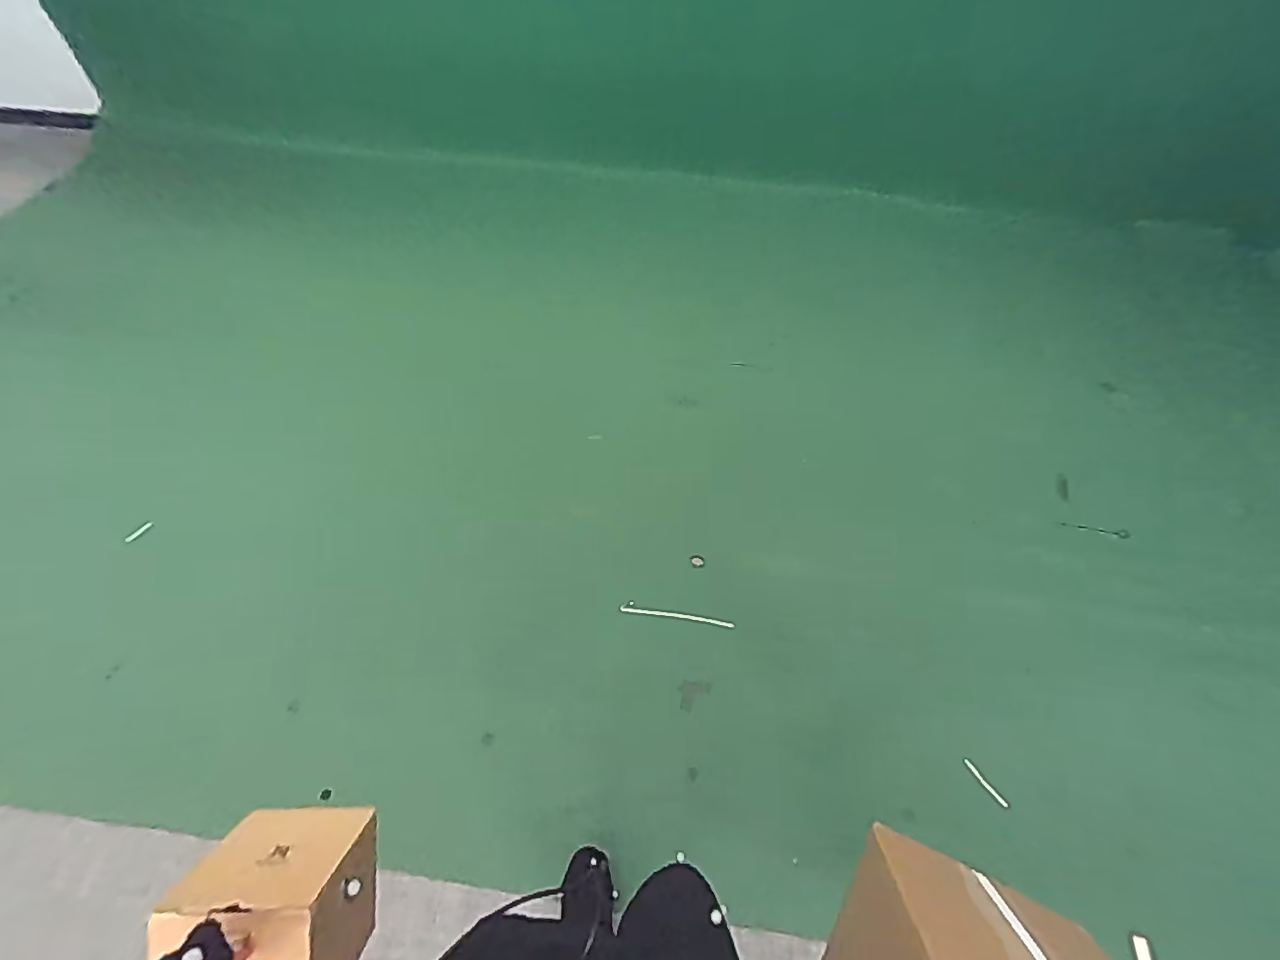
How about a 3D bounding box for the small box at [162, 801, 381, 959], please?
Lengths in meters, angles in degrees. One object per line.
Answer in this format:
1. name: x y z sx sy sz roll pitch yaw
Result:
1. small box: -0.440 0.530 0.666 0.168 0.179 0.176 1 92 -4
